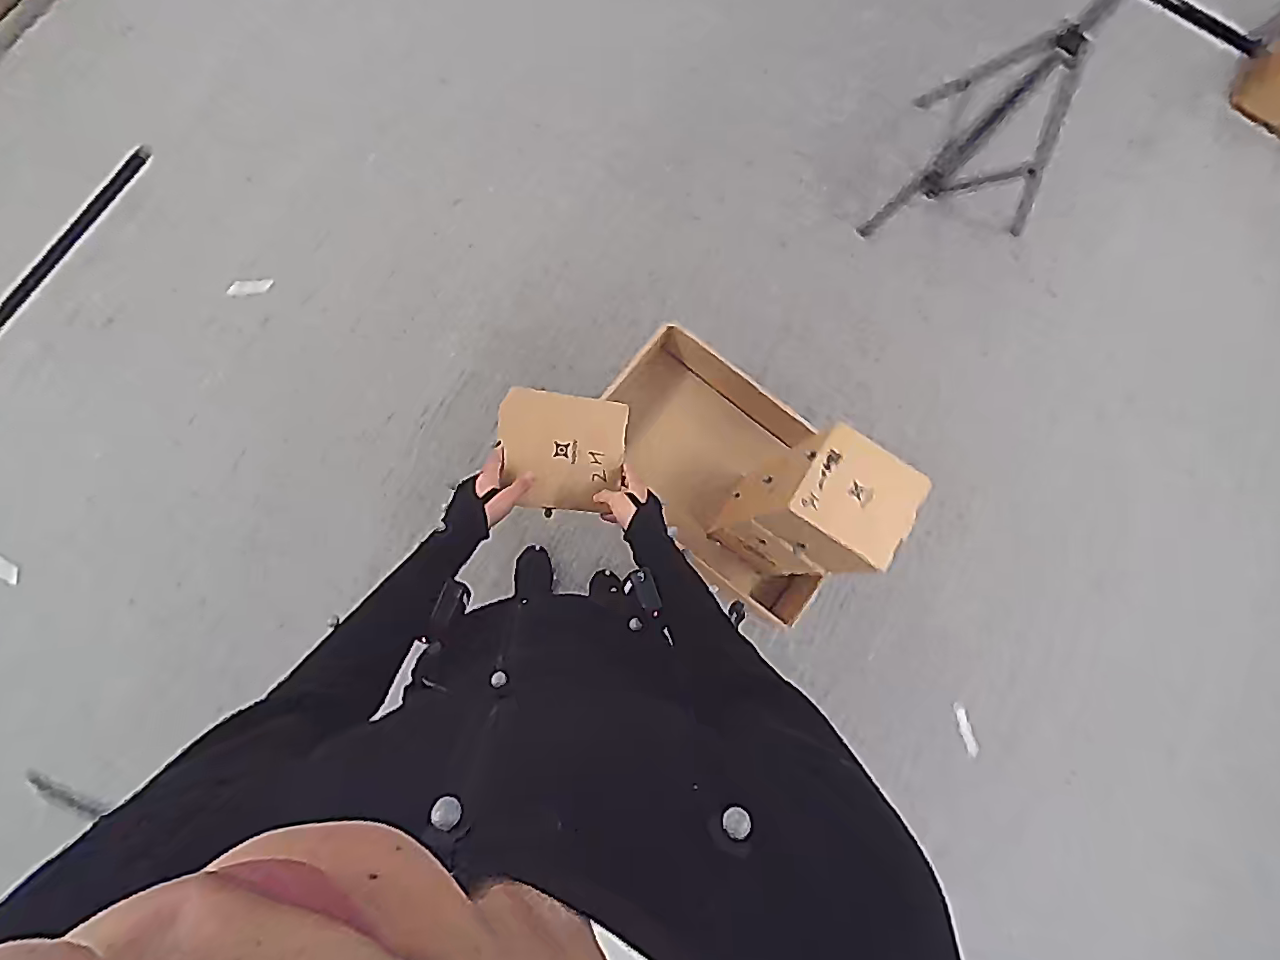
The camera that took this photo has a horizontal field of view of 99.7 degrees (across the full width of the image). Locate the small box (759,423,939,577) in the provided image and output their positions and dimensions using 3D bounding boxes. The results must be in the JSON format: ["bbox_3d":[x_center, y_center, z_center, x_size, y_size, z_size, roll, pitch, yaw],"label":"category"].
[{"bbox_3d":[0.324,0.038,0.871,0.179,0.176,0.168,35,78,0],"label":"small box"}]

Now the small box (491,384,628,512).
[{"bbox_3d":[-0.131,-0.040,0.833,0.179,0.176,0.168,6,87,-20],"label":"small box"}]

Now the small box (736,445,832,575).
[{"bbox_3d":[0.303,0.065,1.031,0.168,0.176,0.179,37,78,1],"label":"small box"}]

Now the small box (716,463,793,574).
[{"bbox_3d":[0.284,0.092,1.190,0.168,0.176,0.179,36,78,1],"label":"small box"}]
